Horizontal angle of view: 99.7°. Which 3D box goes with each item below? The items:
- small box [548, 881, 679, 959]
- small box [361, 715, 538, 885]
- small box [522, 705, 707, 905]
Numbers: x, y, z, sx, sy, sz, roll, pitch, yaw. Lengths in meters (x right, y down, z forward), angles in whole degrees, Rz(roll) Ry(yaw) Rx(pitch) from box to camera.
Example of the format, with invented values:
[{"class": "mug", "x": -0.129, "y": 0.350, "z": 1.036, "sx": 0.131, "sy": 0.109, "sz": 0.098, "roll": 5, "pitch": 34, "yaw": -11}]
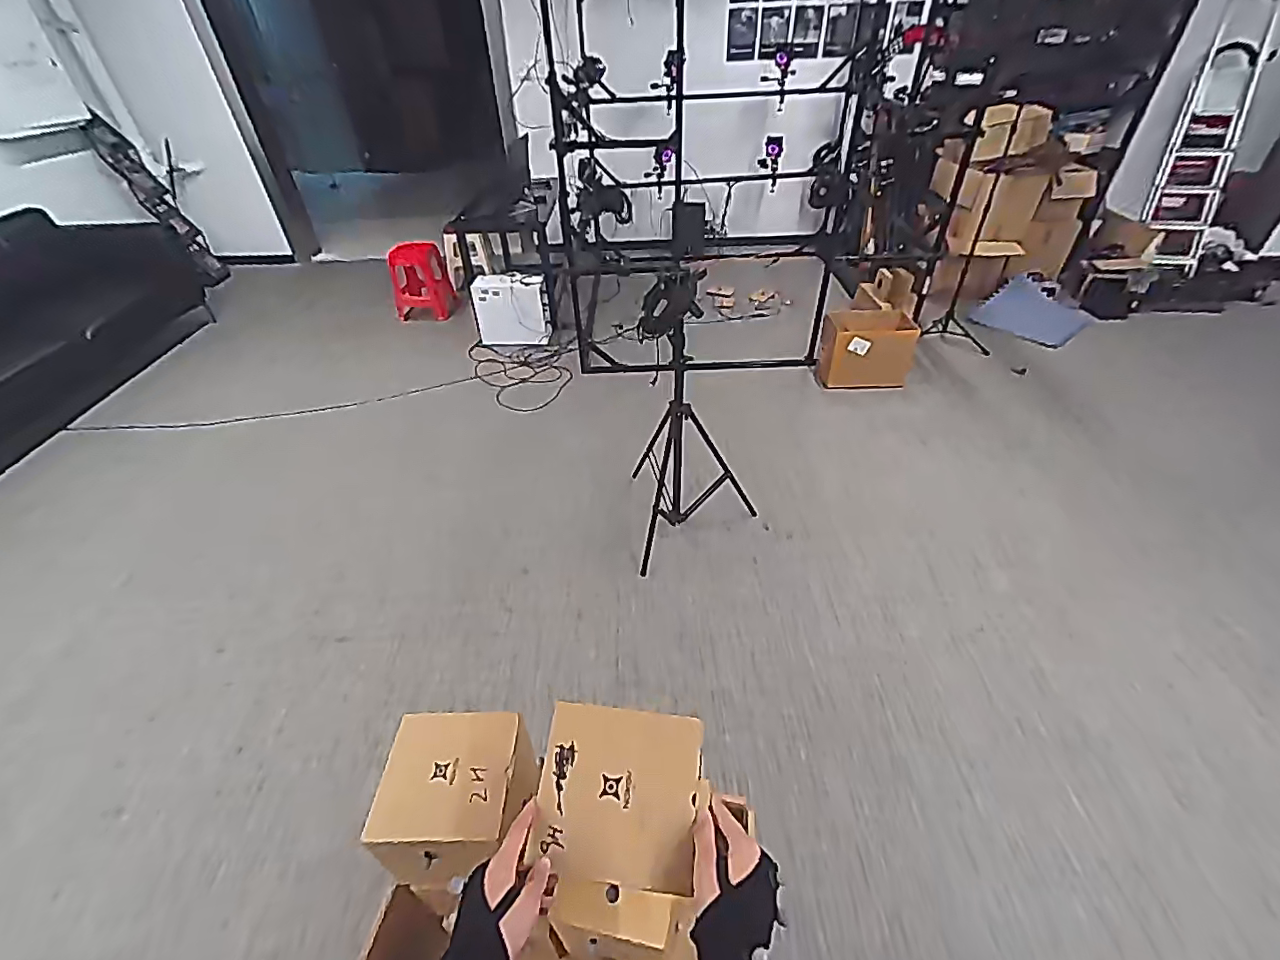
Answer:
[{"class": "small box", "x": -0.023, "y": 0.613, "z": 0.827, "sx": 0.168, "sy": 0.176, "sz": 0.179, "roll": 5, "pitch": 39, "yaw": 12}, {"class": "small box", "x": -0.254, "y": 0.456, "z": 0.771, "sx": 0.179, "sy": 0.176, "sz": 0.168, "roll": -1, "pitch": 39, "yaw": 1}, {"class": "small box", "x": -0.021, "y": 0.384, "z": 0.642, "sx": 0.179, "sy": 0.176, "sz": 0.168, "roll": 6, "pitch": 53, "yaw": 5}]
